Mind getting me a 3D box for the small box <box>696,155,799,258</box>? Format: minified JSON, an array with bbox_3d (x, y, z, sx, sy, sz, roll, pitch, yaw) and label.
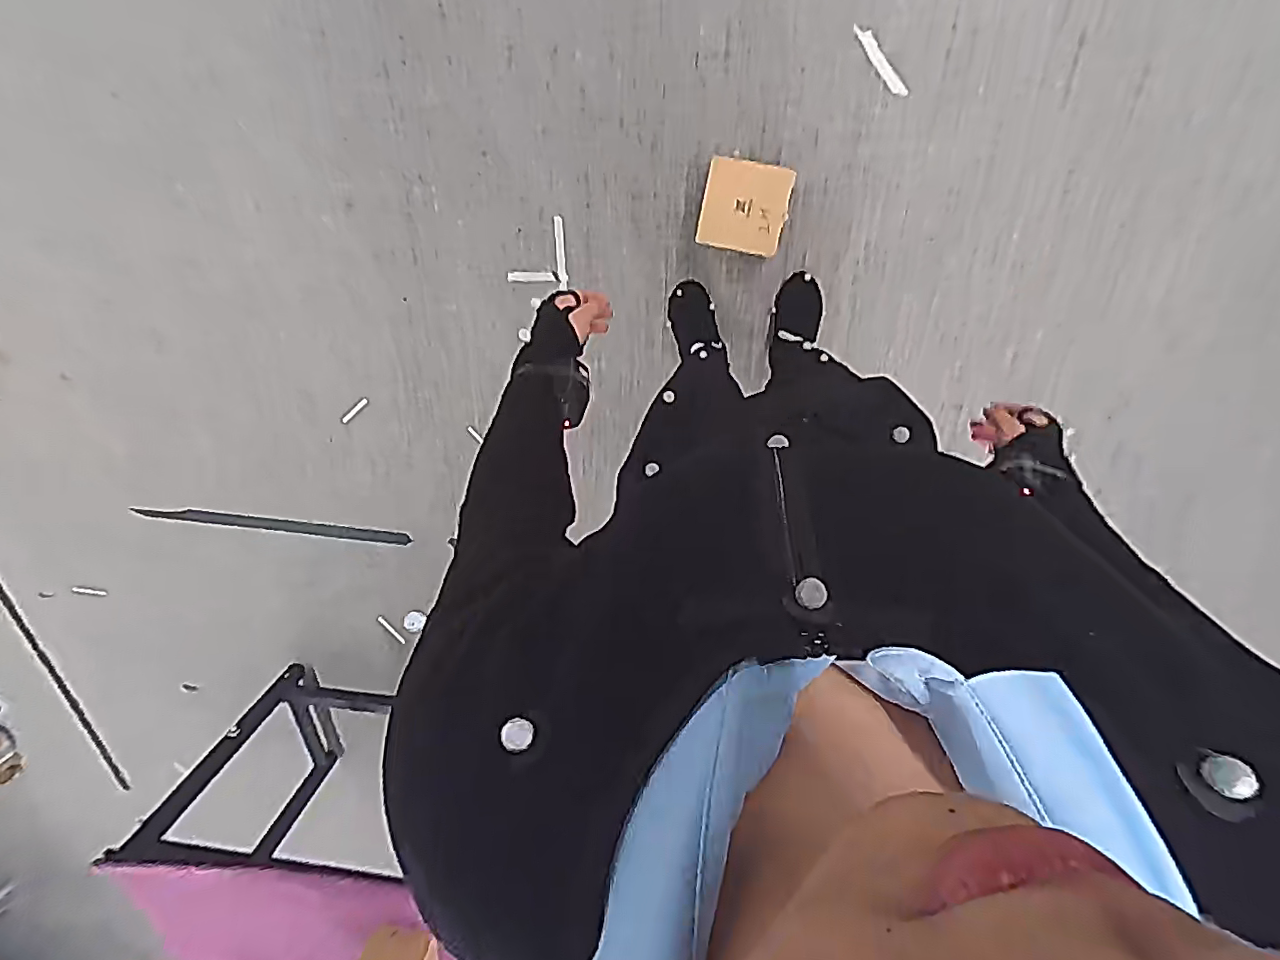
[{"bbox_3d":[0.227,-0.592,1.178,0.179,0.176,0.168,13,118,2],"label":"small box"}]
